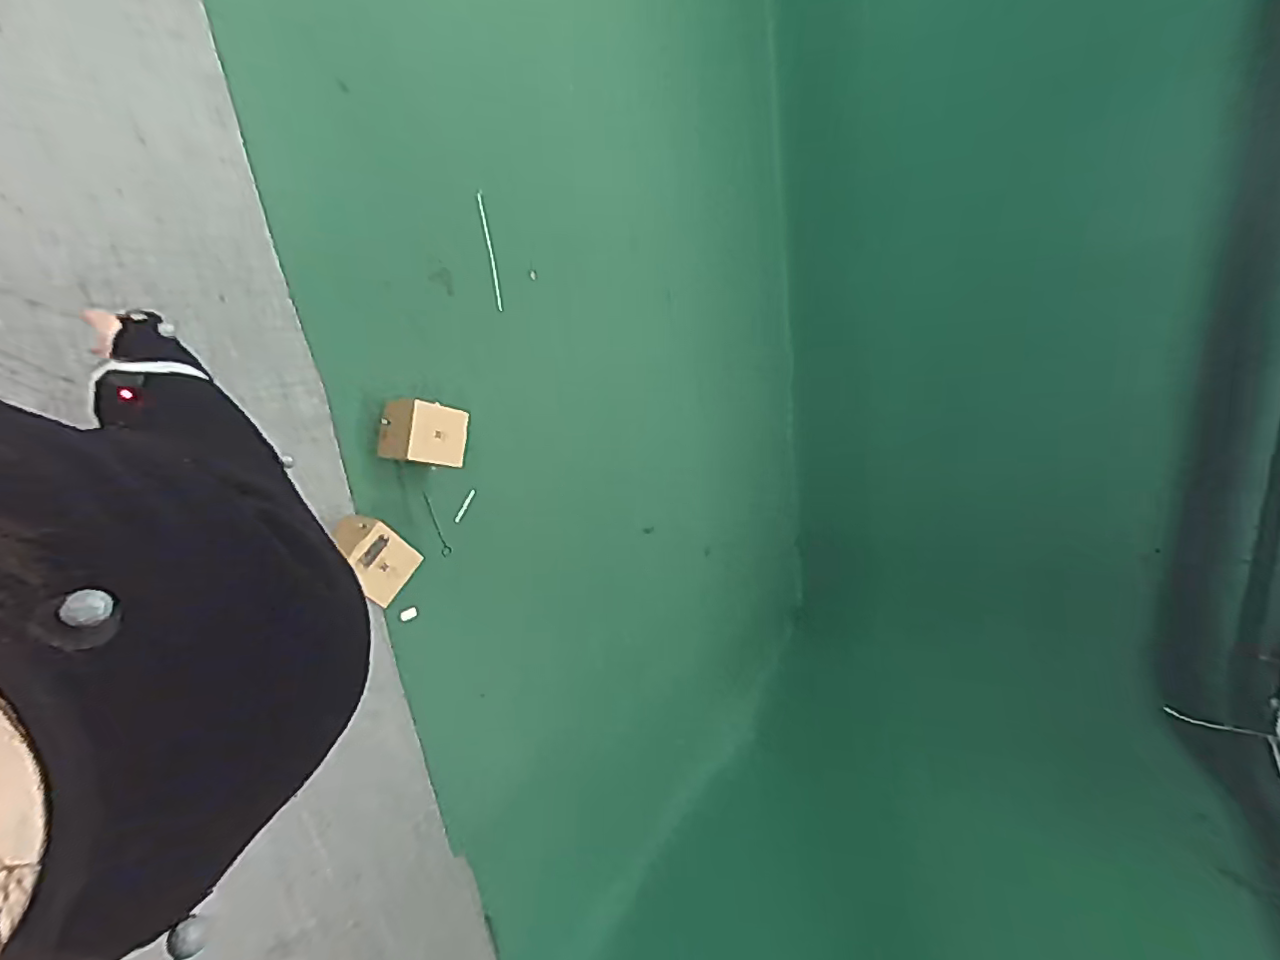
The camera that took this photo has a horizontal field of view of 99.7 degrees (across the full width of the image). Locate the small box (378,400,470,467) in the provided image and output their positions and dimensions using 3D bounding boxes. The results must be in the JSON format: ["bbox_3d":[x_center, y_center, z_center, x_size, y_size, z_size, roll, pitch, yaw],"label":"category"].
[{"bbox_3d":[-0.626,-0.133,1.571,0.179,0.176,0.168,11,84,-53],"label":"small box"}]
